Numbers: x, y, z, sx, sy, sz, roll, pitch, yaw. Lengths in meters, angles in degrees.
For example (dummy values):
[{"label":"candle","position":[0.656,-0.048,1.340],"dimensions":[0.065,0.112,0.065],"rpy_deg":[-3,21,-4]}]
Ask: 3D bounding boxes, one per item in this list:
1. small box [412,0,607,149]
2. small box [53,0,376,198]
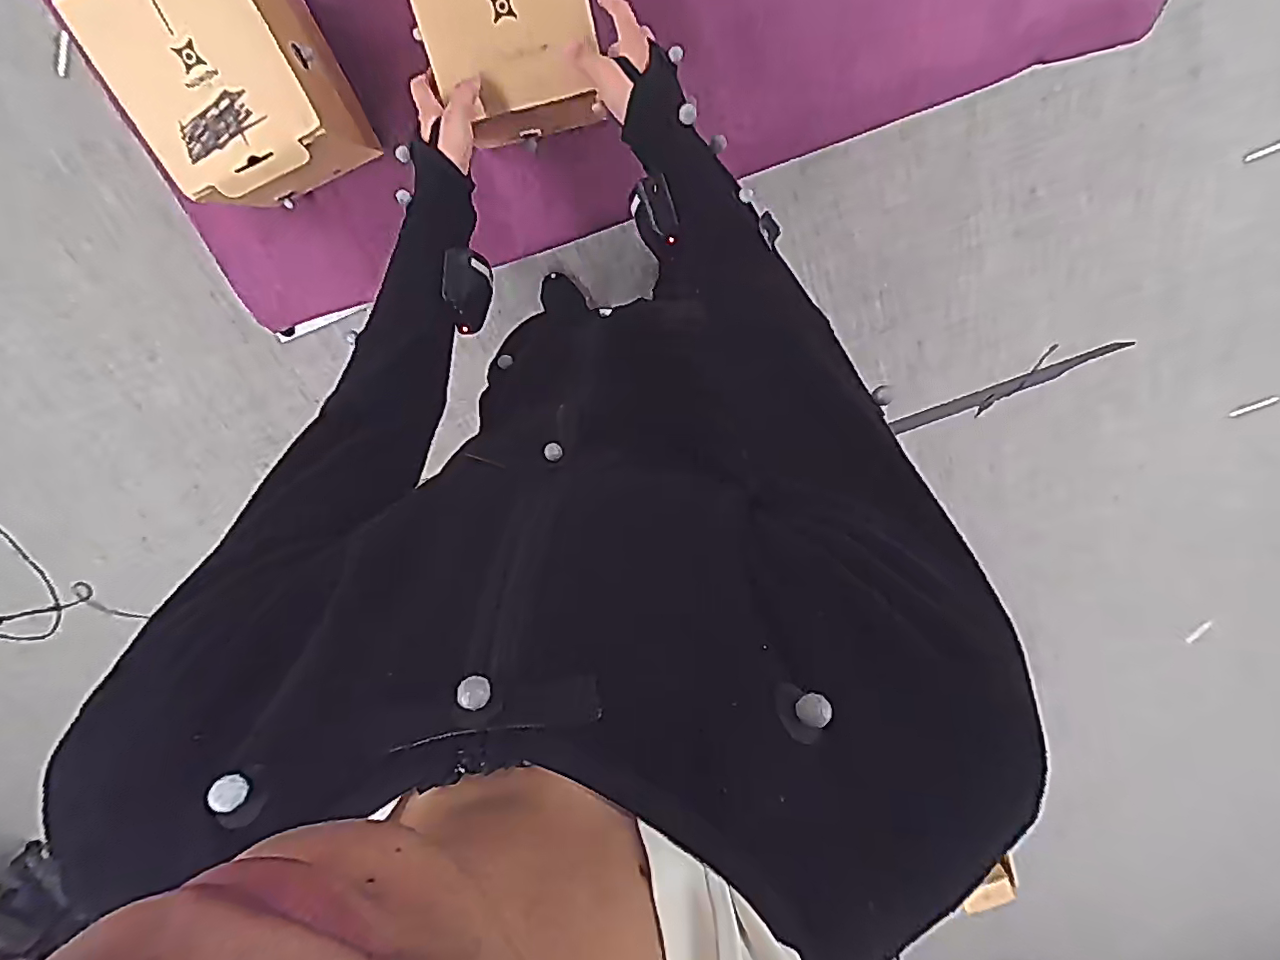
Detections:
[{"label":"small box","position":[-0.136,-0.481,0.579],"dimensions":[0.168,0.176,0.179],"rpy_deg":[-13,115,2]},{"label":"small box","position":[-0.424,-0.424,0.582],"dimensions":[0.168,0.176,0.179],"rpy_deg":[-23,114,6]}]
